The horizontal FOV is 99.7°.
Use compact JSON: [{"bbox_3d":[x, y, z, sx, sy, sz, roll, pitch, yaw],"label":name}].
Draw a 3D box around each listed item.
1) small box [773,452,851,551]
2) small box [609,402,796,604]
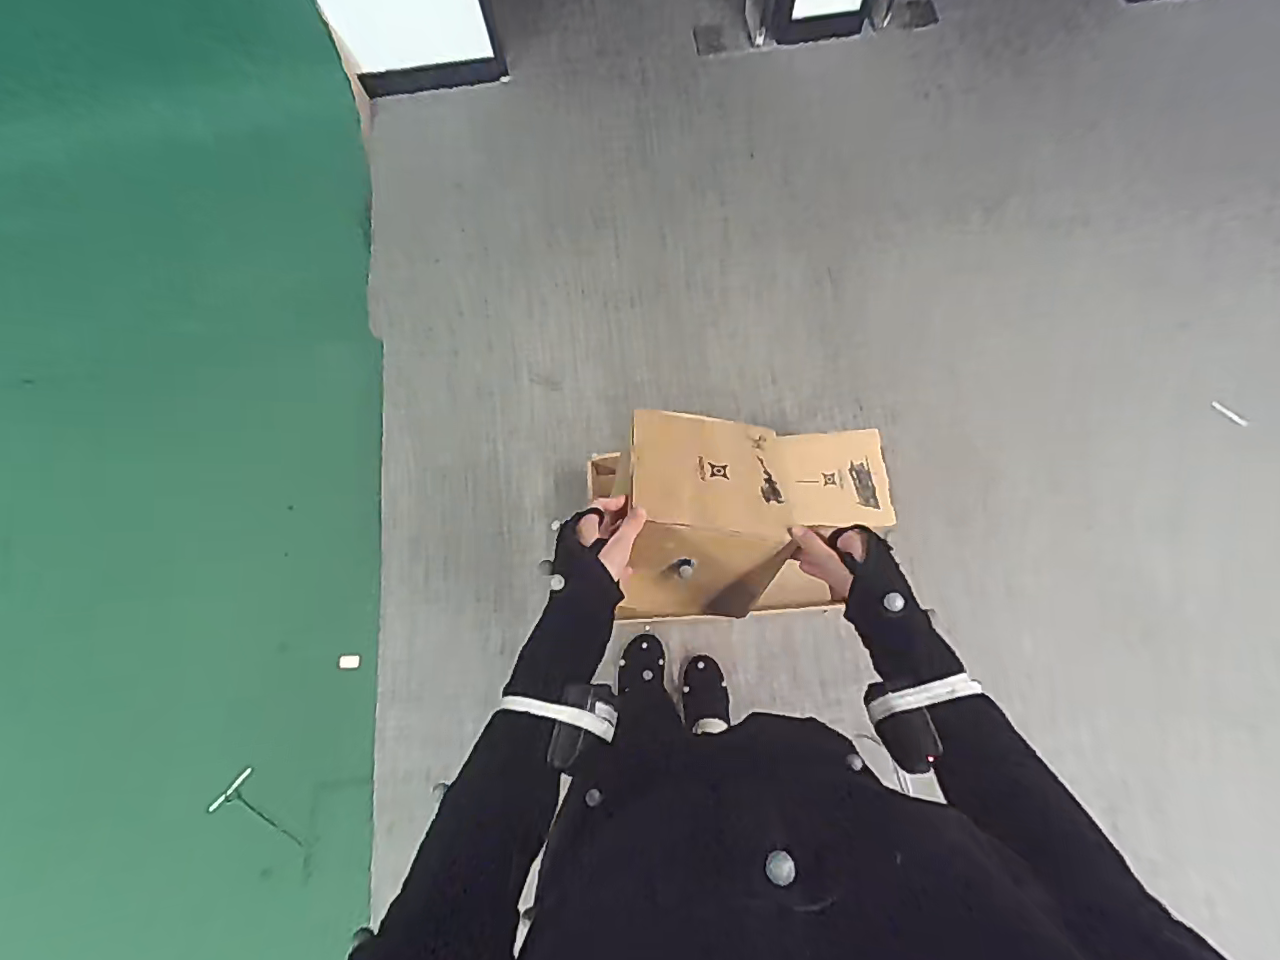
[{"bbox_3d":[0.319,0.053,1.125,0.168,0.176,0.179,-4,75,1],"label":"small box"},{"bbox_3d":[0.059,0.032,0.637,0.179,0.176,0.168,6,49,-7],"label":"small box"}]
